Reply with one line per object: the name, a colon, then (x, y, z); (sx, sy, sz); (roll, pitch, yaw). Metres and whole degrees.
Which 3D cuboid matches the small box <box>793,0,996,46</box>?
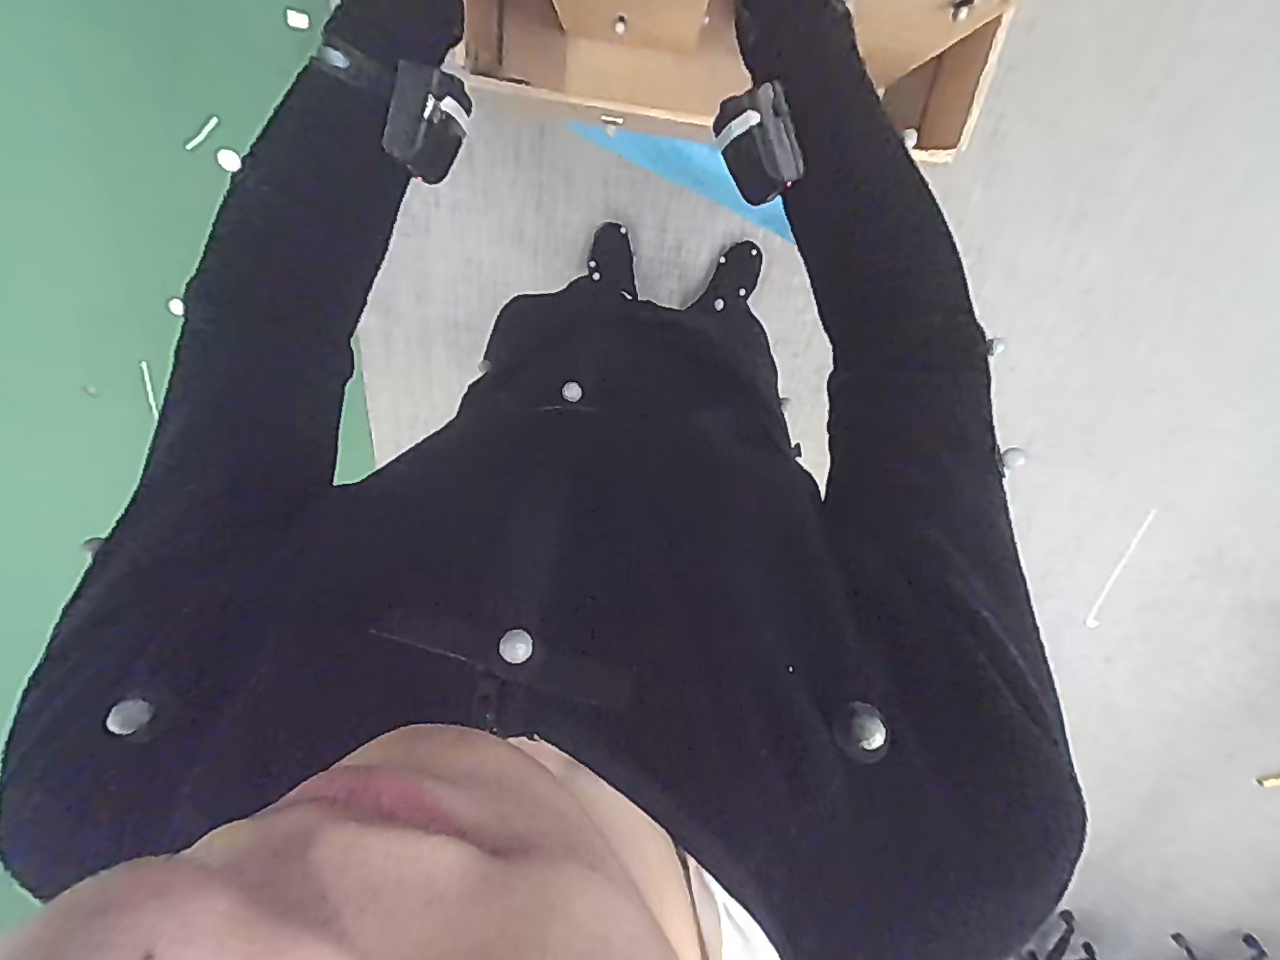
small box: (0.252, -0.519, 0.478); (0.179, 0.176, 0.168); (9, 115, -3)
